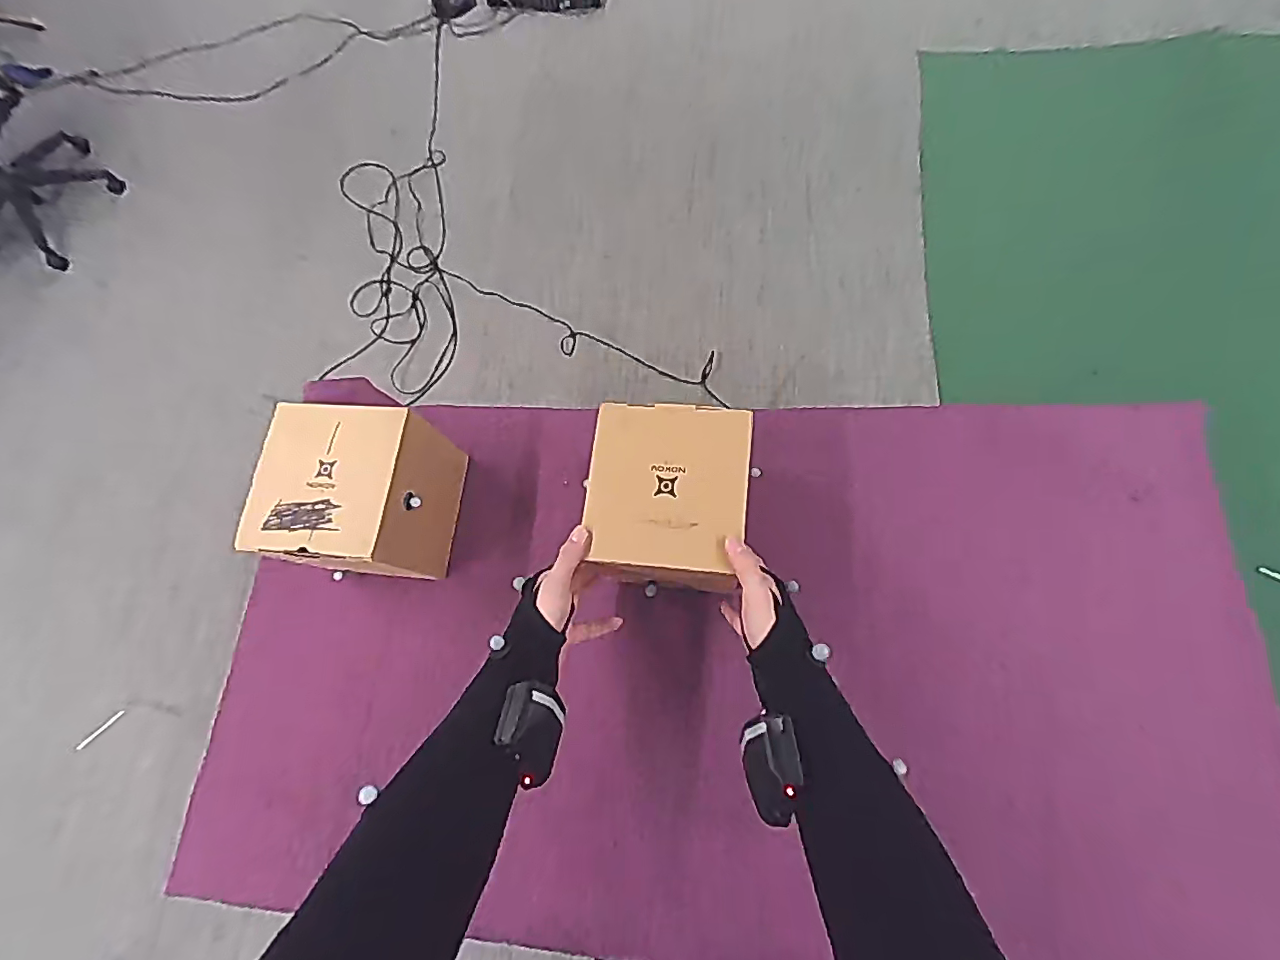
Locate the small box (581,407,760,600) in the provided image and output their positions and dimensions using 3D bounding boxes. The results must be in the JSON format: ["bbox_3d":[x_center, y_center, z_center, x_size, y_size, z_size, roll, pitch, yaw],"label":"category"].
[{"bbox_3d":[0.040,0.035,0.621,0.168,0.176,0.179,5,74,8],"label":"small box"}]

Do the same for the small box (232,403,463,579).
[{"bbox_3d":[-0.336,0.022,0.661,0.168,0.176,0.179,4,74,7],"label":"small box"}]
